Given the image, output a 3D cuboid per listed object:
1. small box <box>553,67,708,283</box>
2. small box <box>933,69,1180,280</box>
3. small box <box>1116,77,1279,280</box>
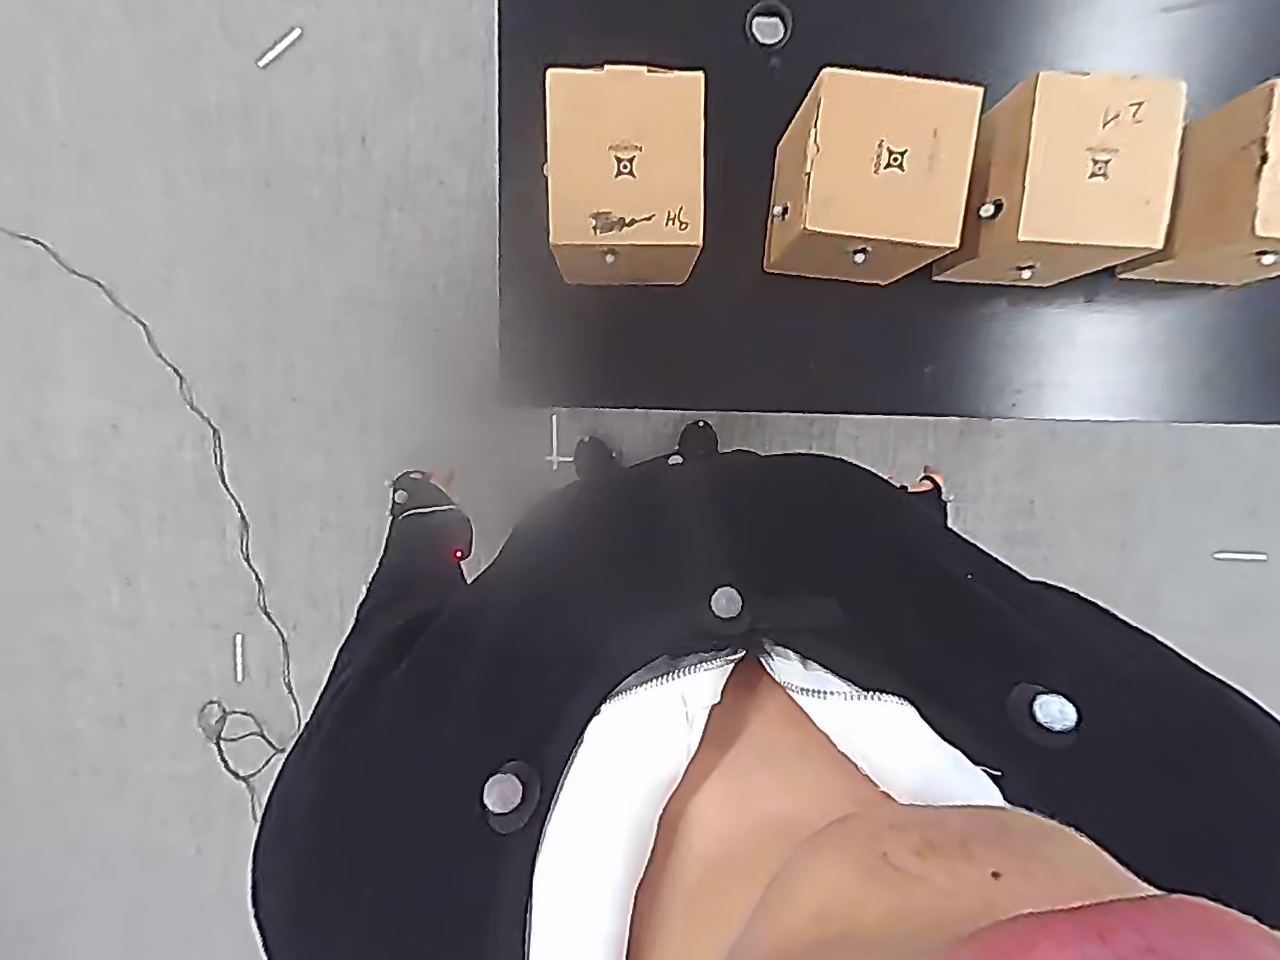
[{"bbox_3d":[-0.013,-0.353,0.655,0.168,0.176,0.179,0,96,-1],"label":"small box"},{"bbox_3d":[0.491,-0.357,0.667,0.168,0.176,0.179,3,96,-2],"label":"small box"},{"bbox_3d":[0.753,-0.358,0.673,0.179,0.176,0.168,3,96,-2],"label":"small box"}]
